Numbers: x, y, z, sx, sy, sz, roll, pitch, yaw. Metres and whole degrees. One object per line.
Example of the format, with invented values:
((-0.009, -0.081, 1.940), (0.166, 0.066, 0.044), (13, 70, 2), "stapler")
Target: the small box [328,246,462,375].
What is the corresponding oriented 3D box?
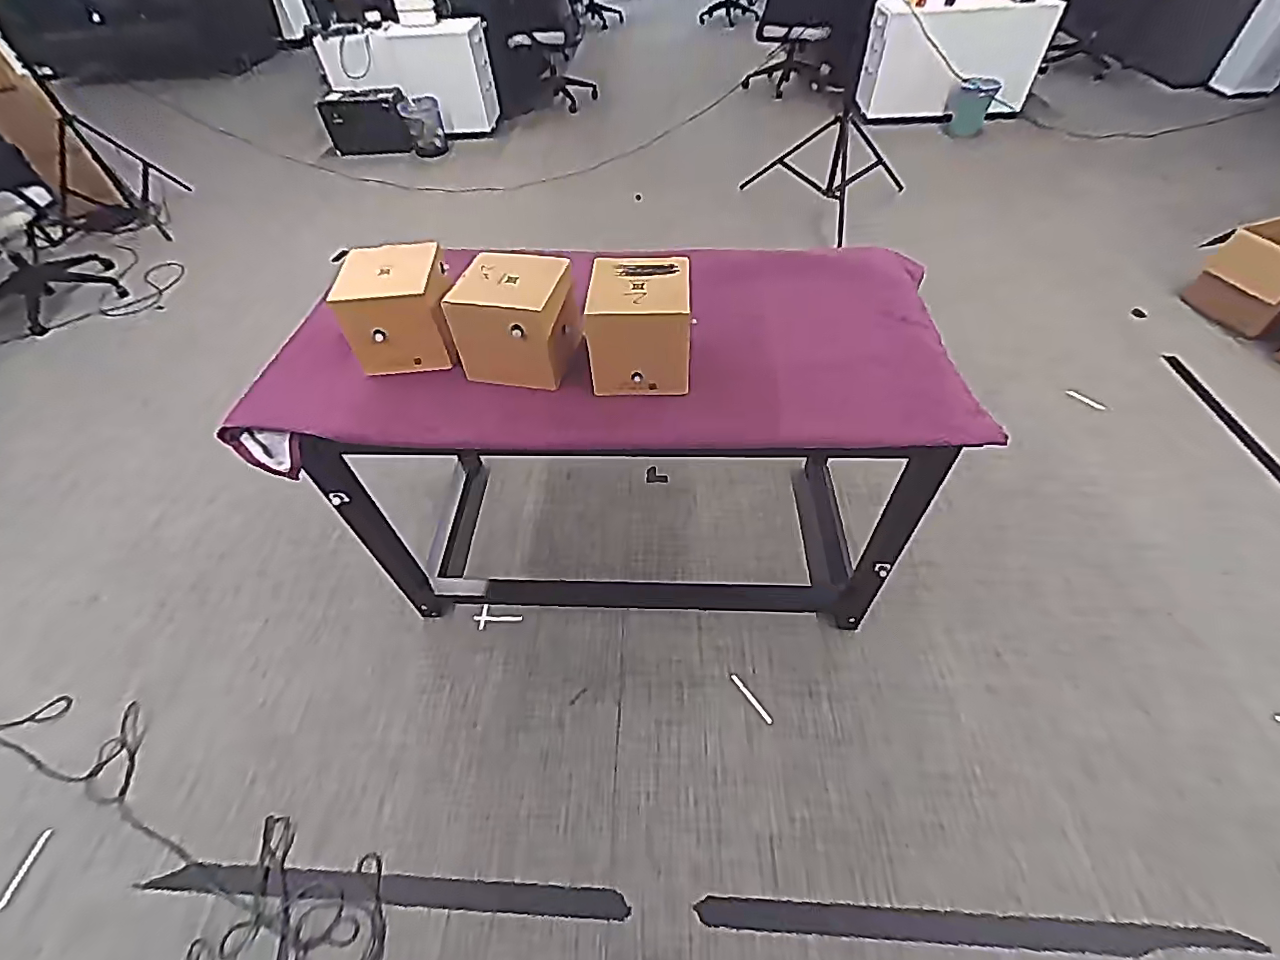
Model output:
((-0.448, -0.313, 1.021), (0.168, 0.176, 0.179), (-6, 51, -2), "small box")
